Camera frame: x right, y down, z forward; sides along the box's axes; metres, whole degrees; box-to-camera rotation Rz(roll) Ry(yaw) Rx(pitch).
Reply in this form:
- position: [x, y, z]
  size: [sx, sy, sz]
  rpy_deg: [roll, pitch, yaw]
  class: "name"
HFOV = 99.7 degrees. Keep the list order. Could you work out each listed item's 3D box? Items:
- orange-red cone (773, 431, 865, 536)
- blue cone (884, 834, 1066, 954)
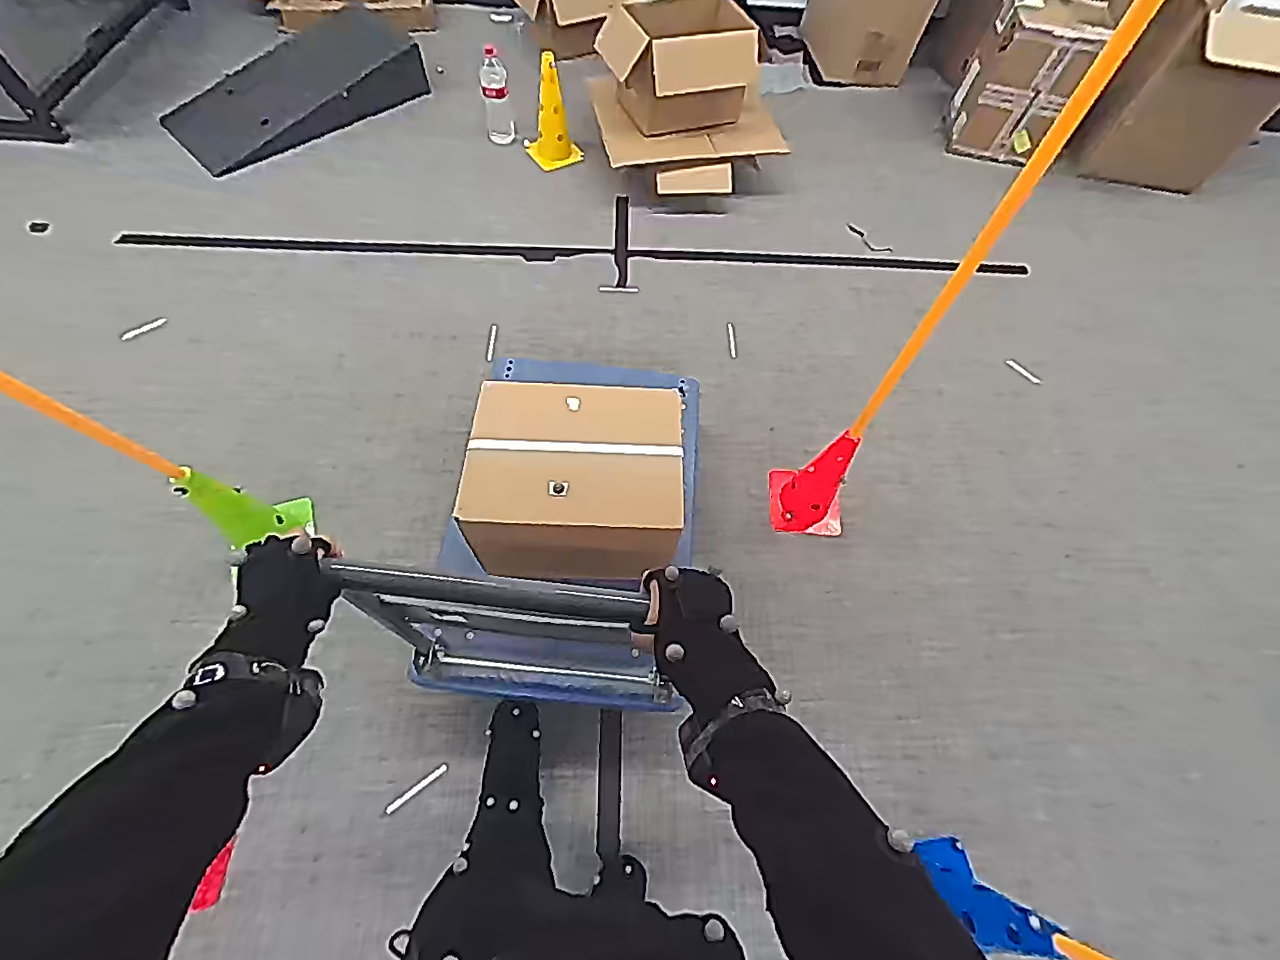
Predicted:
- position: [0.493, -0.017, 1.402]
  size: [0.199, 0.360, 0.198]
  rpy_deg: [7, 62, -1]
  class: "orange-red cone"
- position: [0.634, 0.784, 0.993]
  size: [0.193, 0.380, 0.192]
  rpy_deg: [-2, 60, -6]
  class: "blue cone"
